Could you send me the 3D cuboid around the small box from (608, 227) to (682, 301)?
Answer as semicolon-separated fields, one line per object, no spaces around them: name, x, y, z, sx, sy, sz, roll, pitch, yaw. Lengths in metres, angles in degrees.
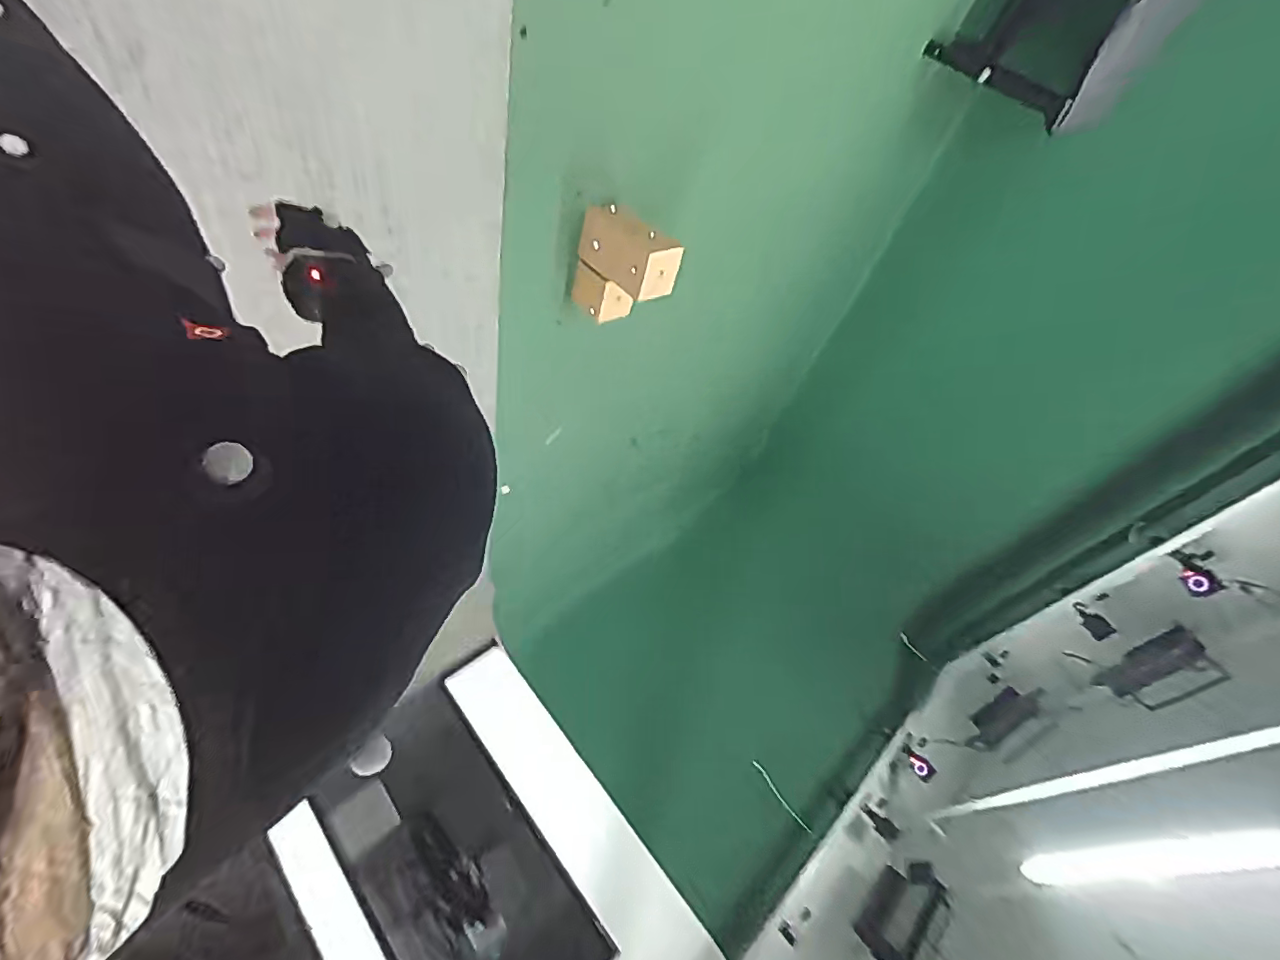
small box;0.010;-0.743;1.844;0.168;0.176;0.179;-28;153;-36
